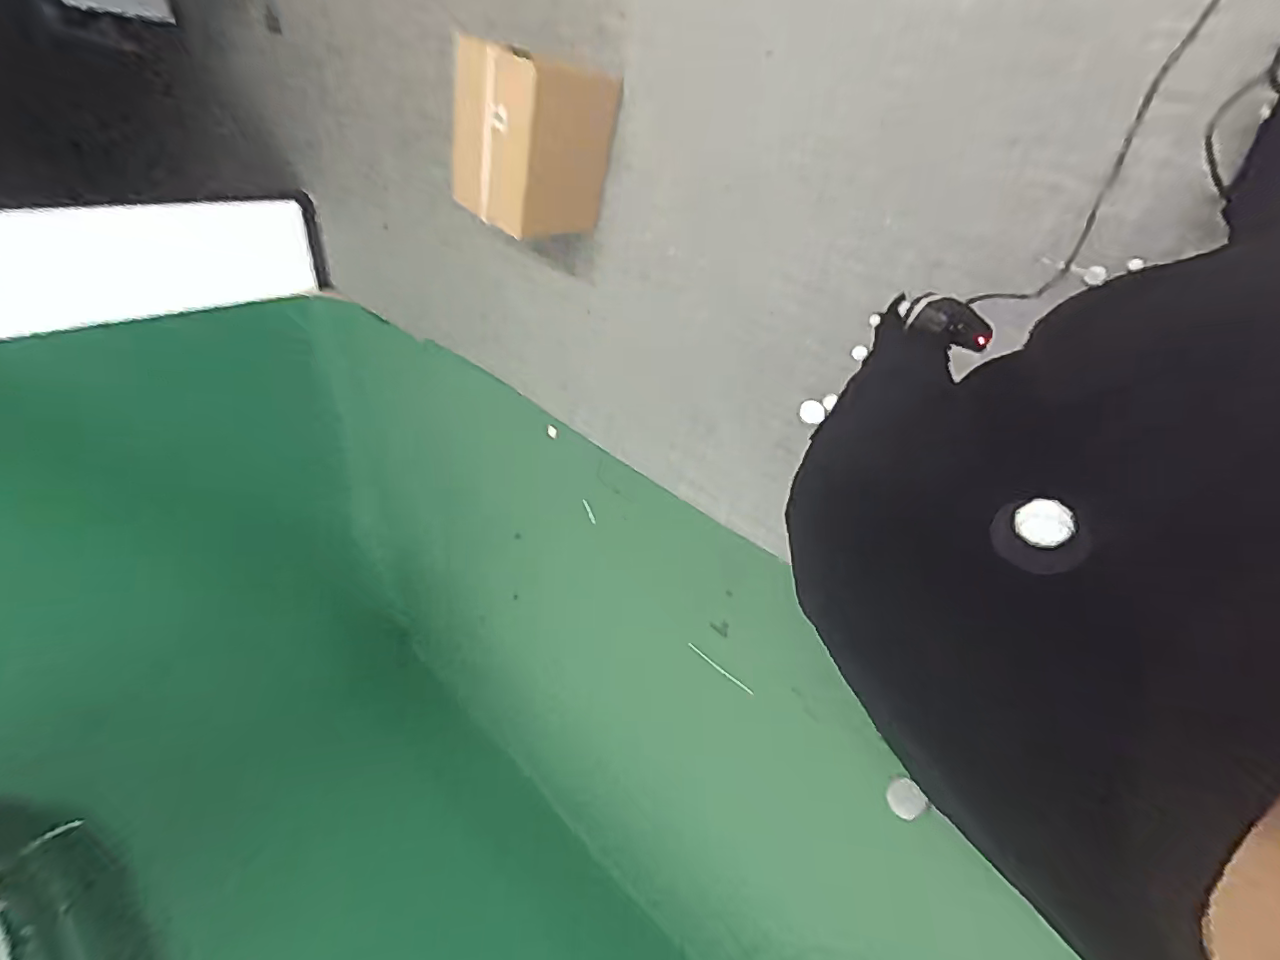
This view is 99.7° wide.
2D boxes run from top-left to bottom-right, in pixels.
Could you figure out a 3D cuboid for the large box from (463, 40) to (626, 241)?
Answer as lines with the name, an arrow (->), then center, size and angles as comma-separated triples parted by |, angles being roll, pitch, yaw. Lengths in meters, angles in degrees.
large box -> -0.281, -0.945, 1.542 | 0.320, 0.320, 0.408 | 37, 133, 22
